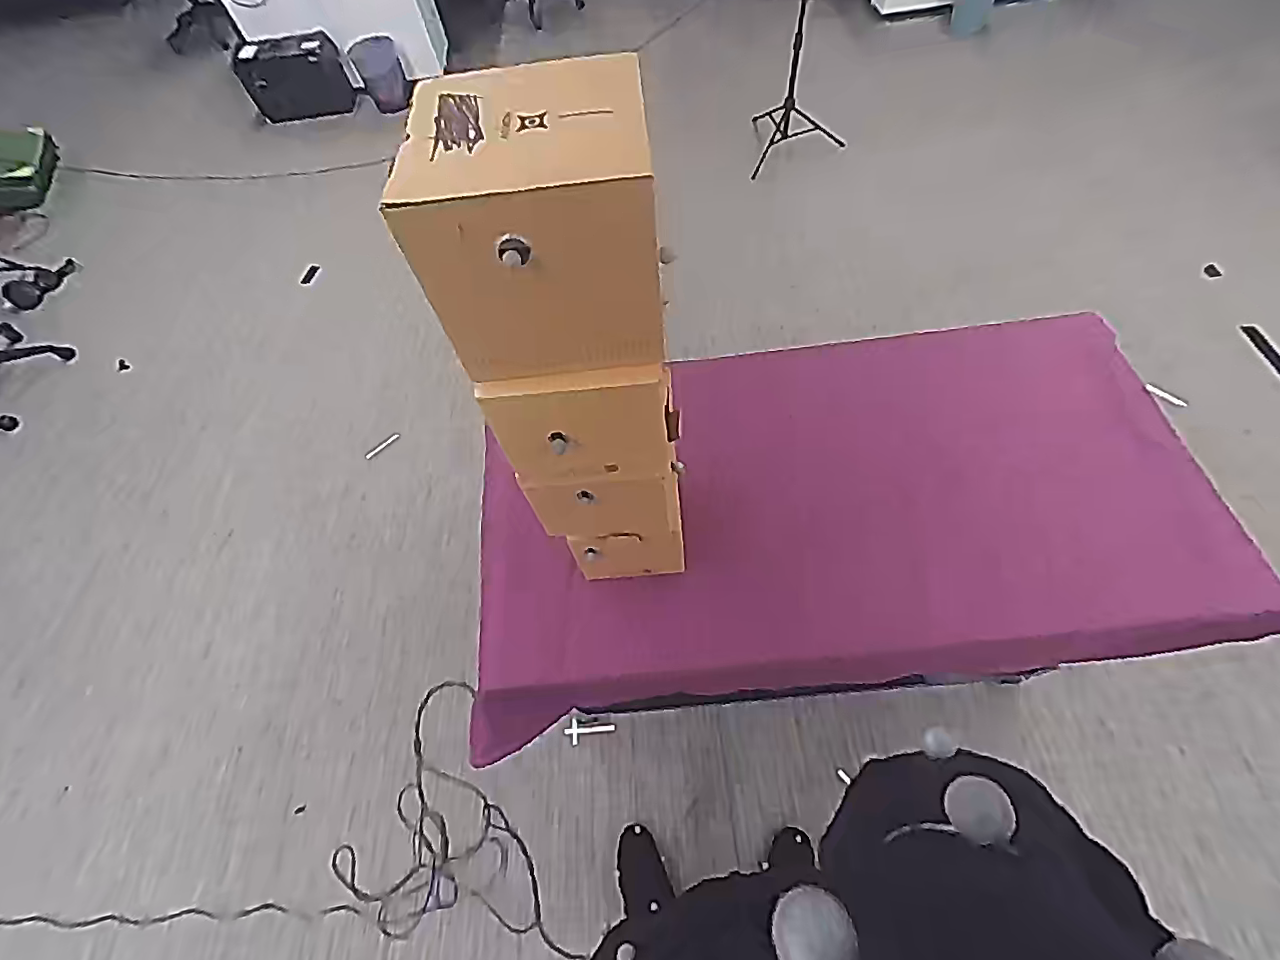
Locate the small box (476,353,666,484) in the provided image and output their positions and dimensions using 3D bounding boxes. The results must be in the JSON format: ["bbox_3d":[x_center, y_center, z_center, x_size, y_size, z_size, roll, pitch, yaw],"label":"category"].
[{"bbox_3d":[-0.062,-0.106,0.585,0.168,0.176,0.179,-5,59,3],"label":"small box"}]

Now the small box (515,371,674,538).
[{"bbox_3d":[-0.048,-0.029,0.727,0.179,0.176,0.168,1,61,6],"label":"small box"}]

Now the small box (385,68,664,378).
[{"bbox_3d":[-0.076,-0.202,0.451,0.179,0.176,0.168,-5,59,2],"label":"small box"}]
